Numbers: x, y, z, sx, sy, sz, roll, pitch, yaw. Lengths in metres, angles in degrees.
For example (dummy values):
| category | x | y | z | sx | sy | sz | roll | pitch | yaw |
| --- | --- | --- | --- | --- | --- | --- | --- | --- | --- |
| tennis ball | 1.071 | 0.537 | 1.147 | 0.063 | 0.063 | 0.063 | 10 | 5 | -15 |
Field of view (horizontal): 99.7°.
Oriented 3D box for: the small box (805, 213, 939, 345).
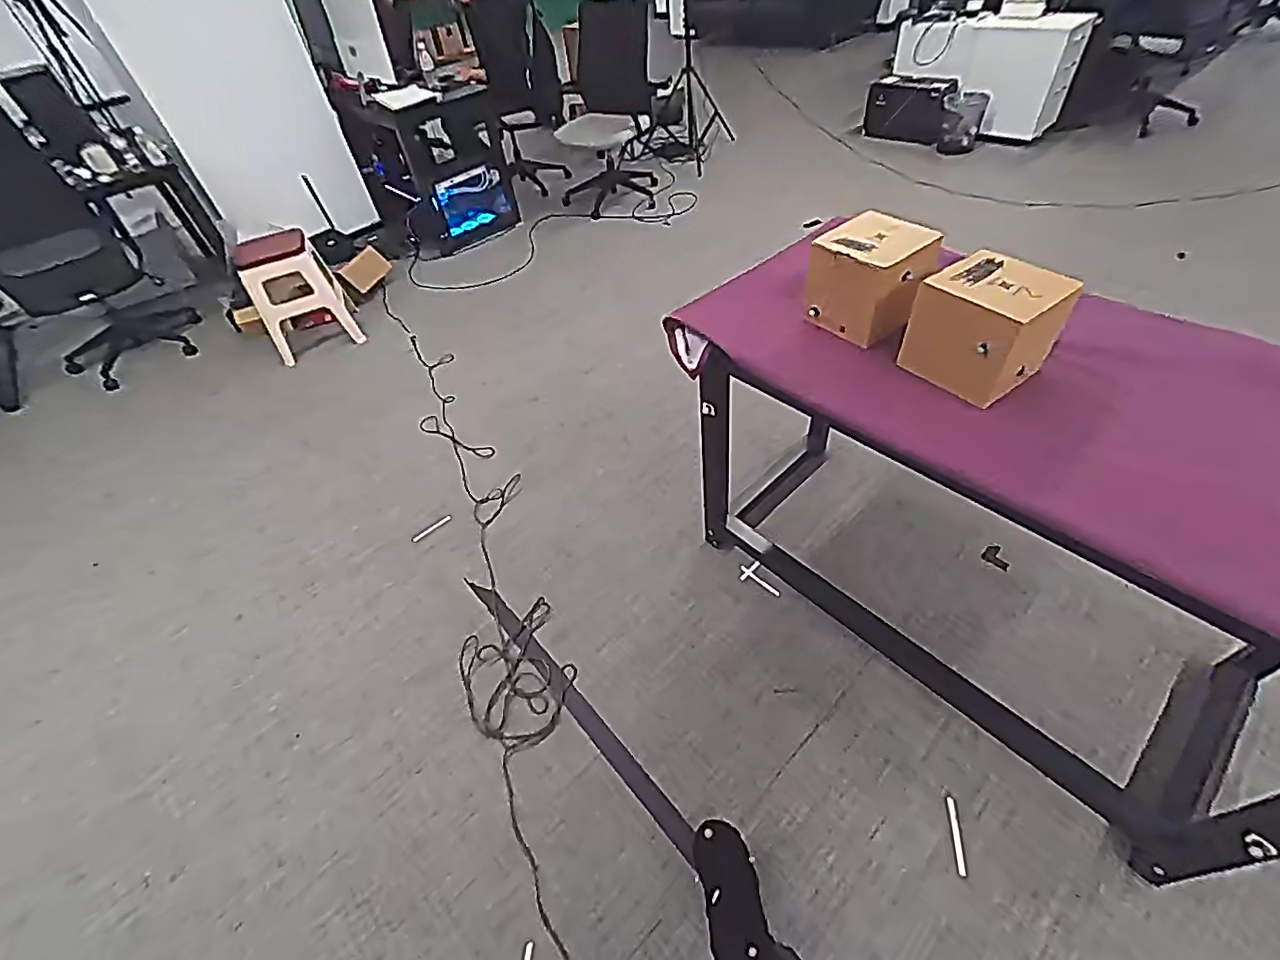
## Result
| category | x | y | z | sx | sy | sz | roll | pitch | yaw |
| --- | --- | --- | --- | --- | --- | --- | --- | --- | --- |
| small box | 0.447 | -0.395 | 1.070 | 0.179 | 0.176 | 0.168 | -32 | 52 | -20 |
